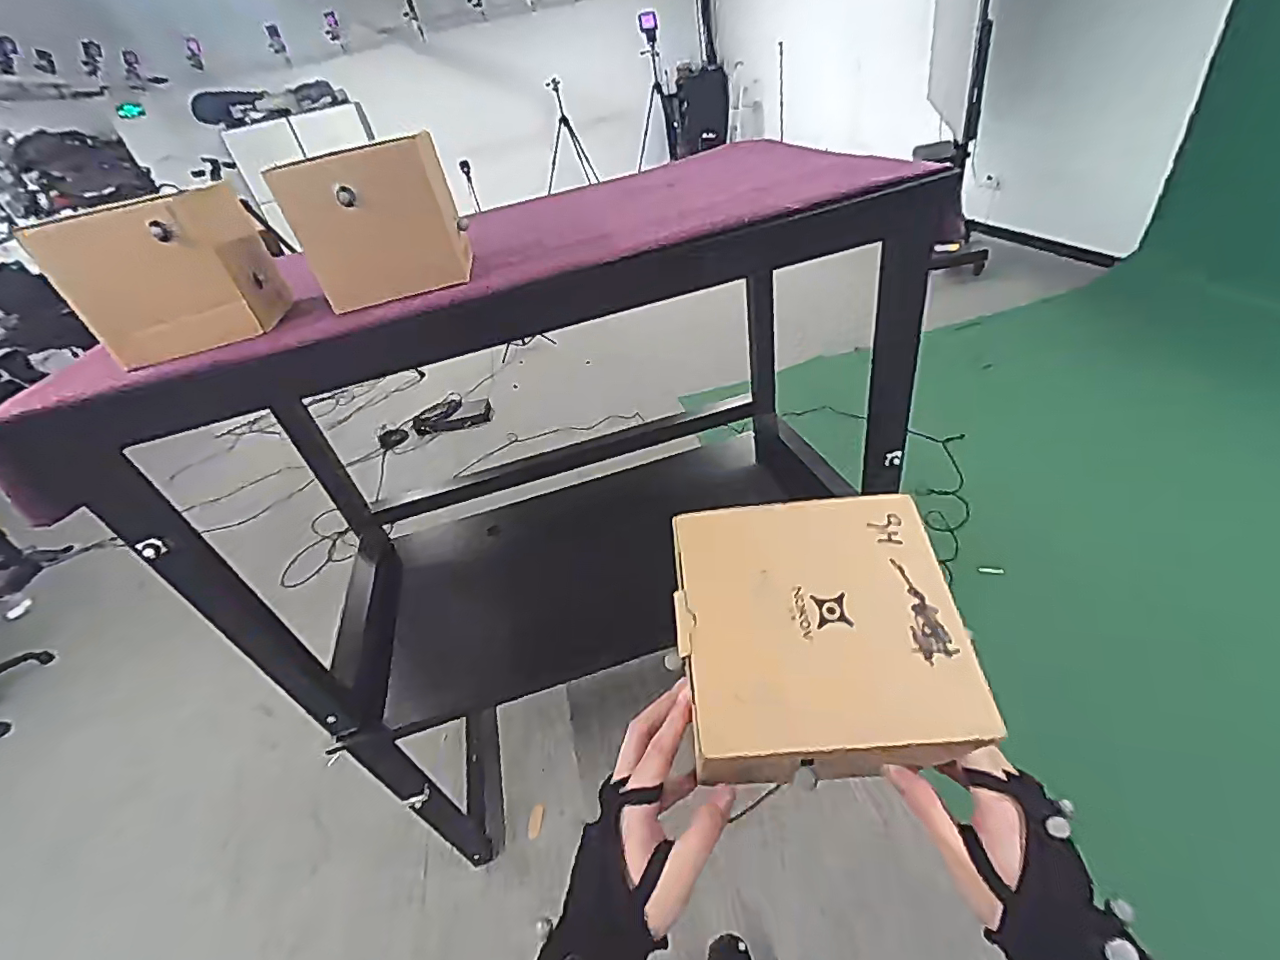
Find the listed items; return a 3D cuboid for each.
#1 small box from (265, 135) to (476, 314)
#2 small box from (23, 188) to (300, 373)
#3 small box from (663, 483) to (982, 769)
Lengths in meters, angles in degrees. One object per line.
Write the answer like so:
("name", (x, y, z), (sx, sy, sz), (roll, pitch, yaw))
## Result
("small box", (-0.338, -0.339, 0.719), (0.179, 0.176, 0.168), (-16, 37, -3))
("small box", (-0.587, -0.258, 0.698), (0.179, 0.176, 0.168), (-19, 37, -7))
("small box", (0.118, 0.123, 0.423), (0.179, 0.176, 0.168), (-6, 57, 5))
